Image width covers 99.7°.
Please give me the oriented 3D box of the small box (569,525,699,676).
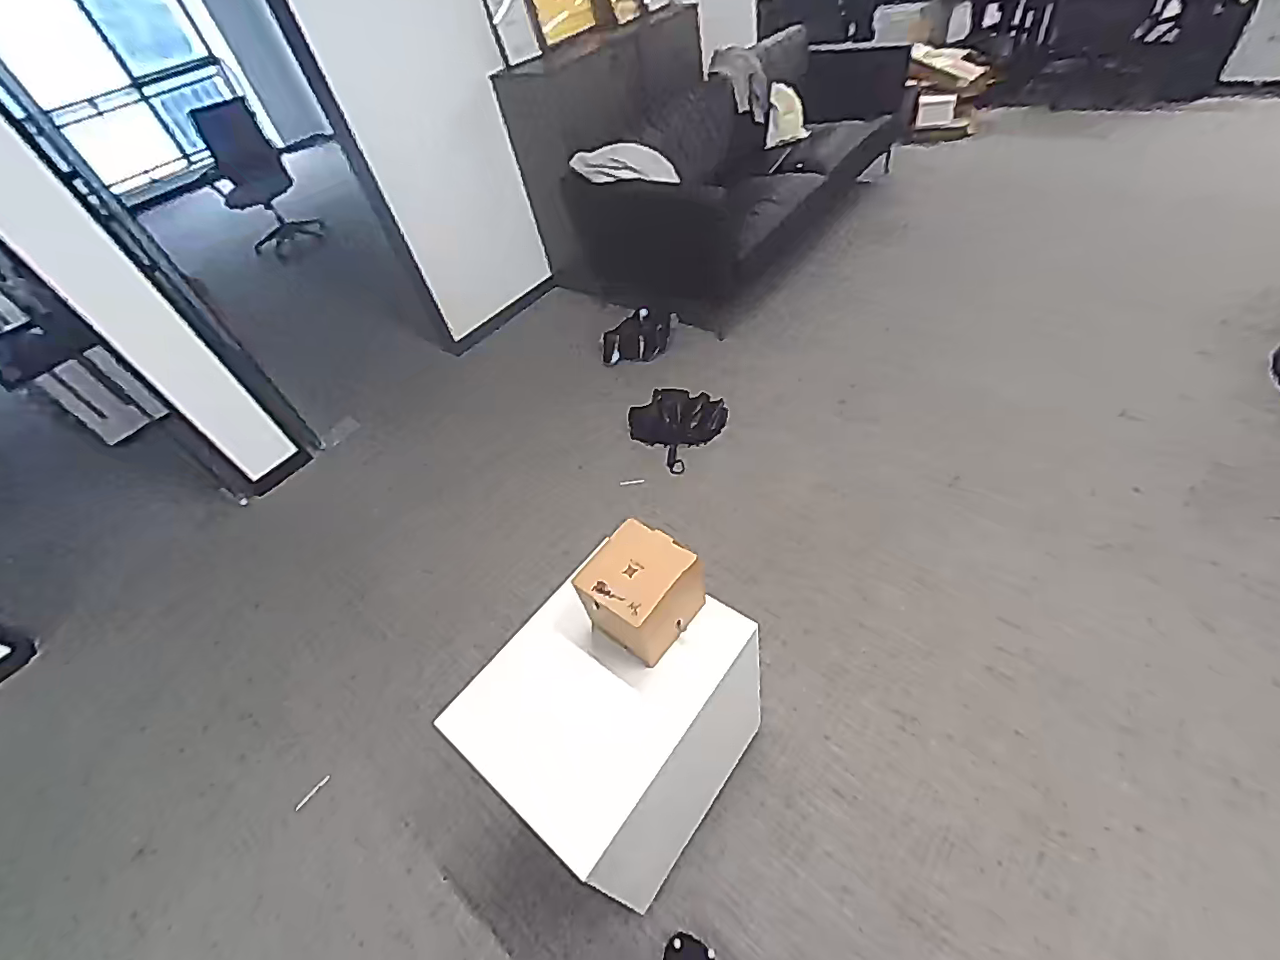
[{"bbox_3d":[-0.003,0.223,1.007,0.168,0.176,0.179,26,56,31],"label":"small box"}]
